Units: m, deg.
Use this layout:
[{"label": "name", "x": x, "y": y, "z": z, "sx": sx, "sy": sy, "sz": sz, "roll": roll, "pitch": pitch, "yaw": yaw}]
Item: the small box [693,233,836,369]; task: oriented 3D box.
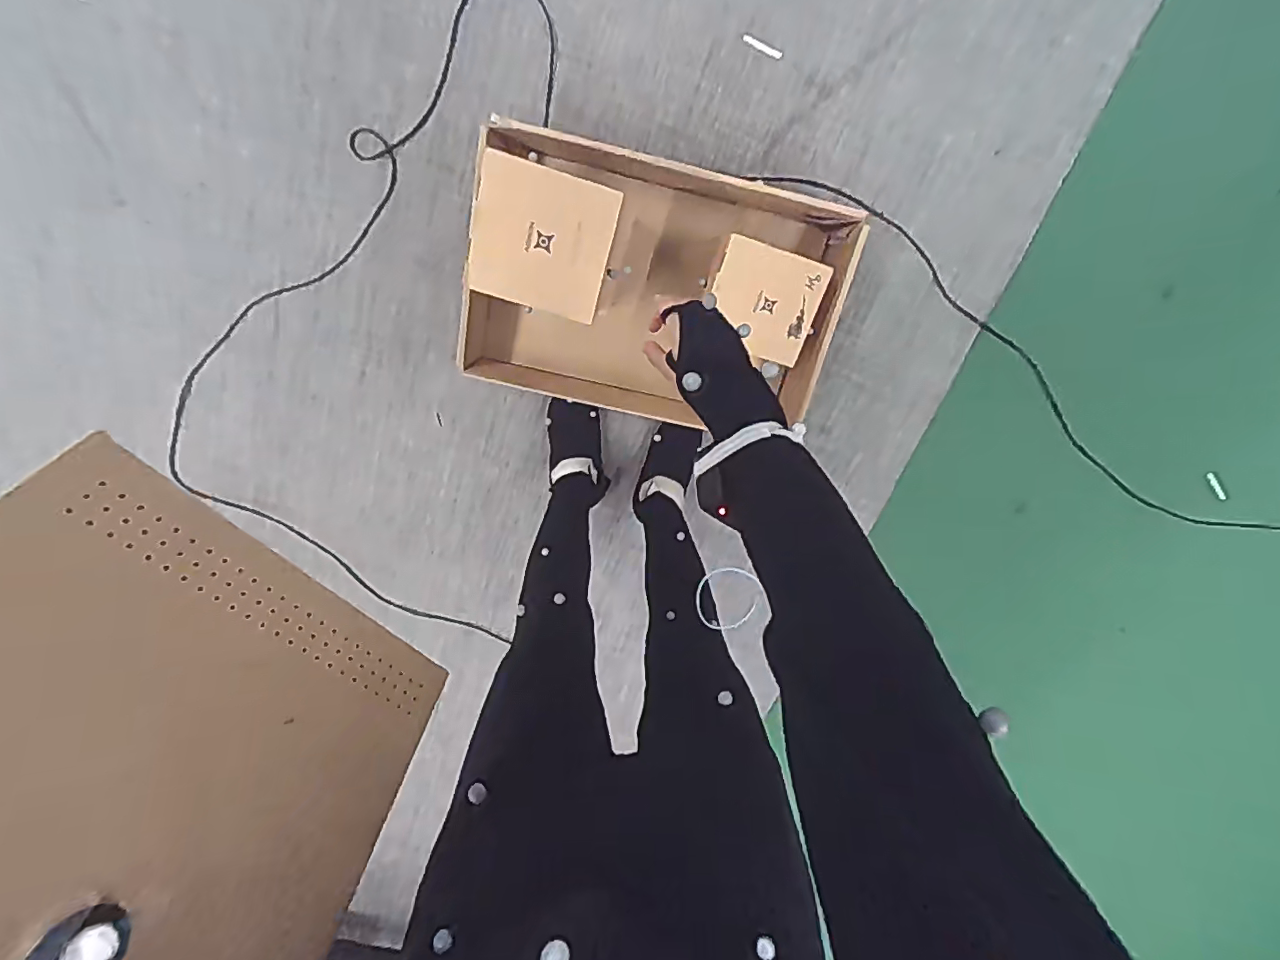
[{"label": "small box", "x": 0.201, "y": -0.309, "z": 0.940, "sx": 0.179, "sy": 0.176, "sz": 0.168, "roll": 18, "pitch": 110, "yaw": -7}]

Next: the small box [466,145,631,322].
[{"label": "small box", "x": -0.119, "y": -0.333, "z": 0.753, "sx": 0.179, "sy": 0.176, "sz": 0.168, "roll": 16, "pitch": 112, "yaw": -8}]
